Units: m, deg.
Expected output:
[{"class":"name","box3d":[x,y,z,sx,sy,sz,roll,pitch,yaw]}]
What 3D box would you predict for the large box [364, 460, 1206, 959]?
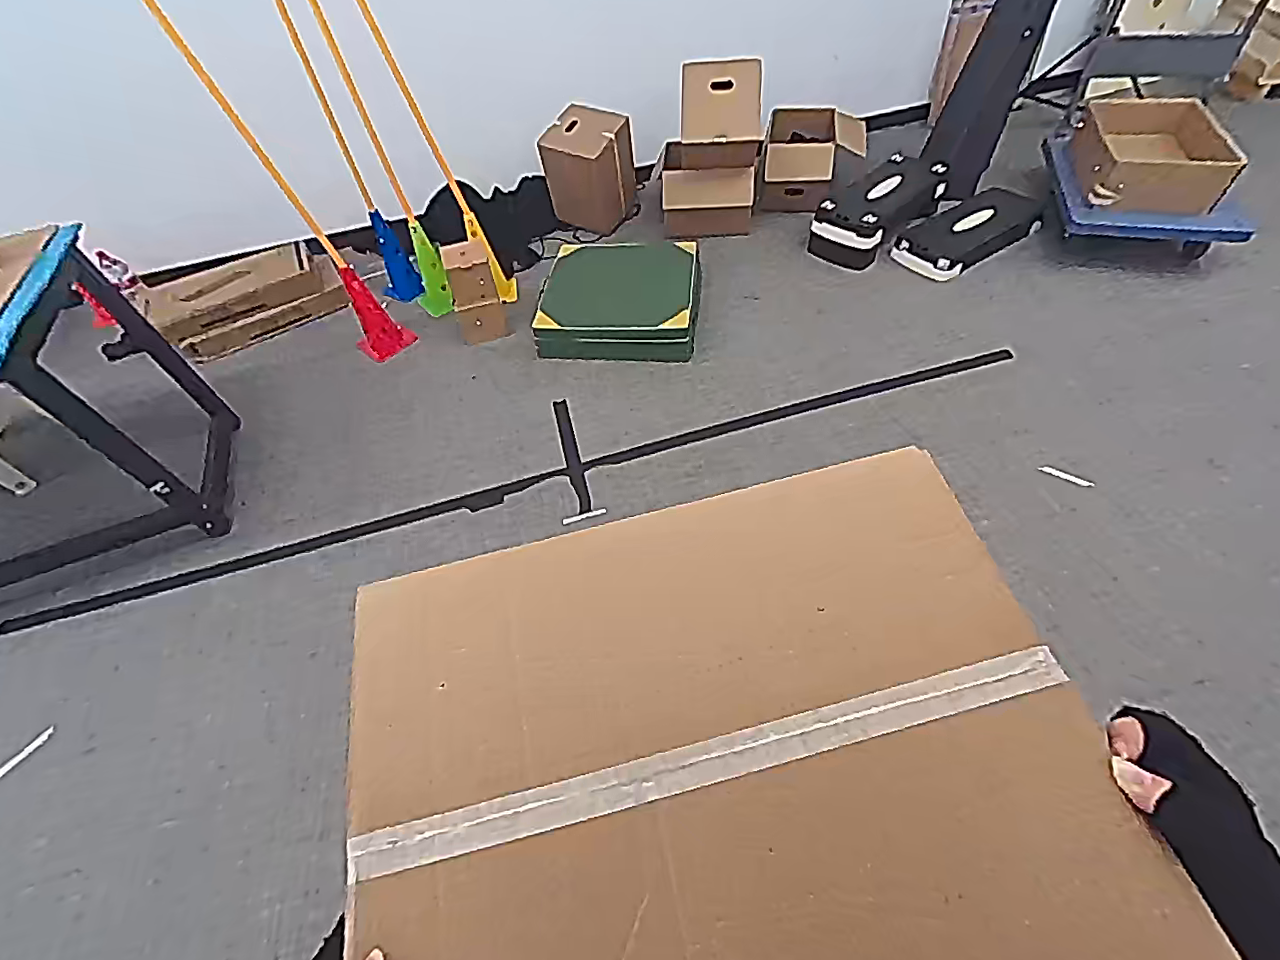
[{"class":"large box","box3d":[0.055,0.233,0.439,0.408,0.320,0.320,-15,59,-2]}]
